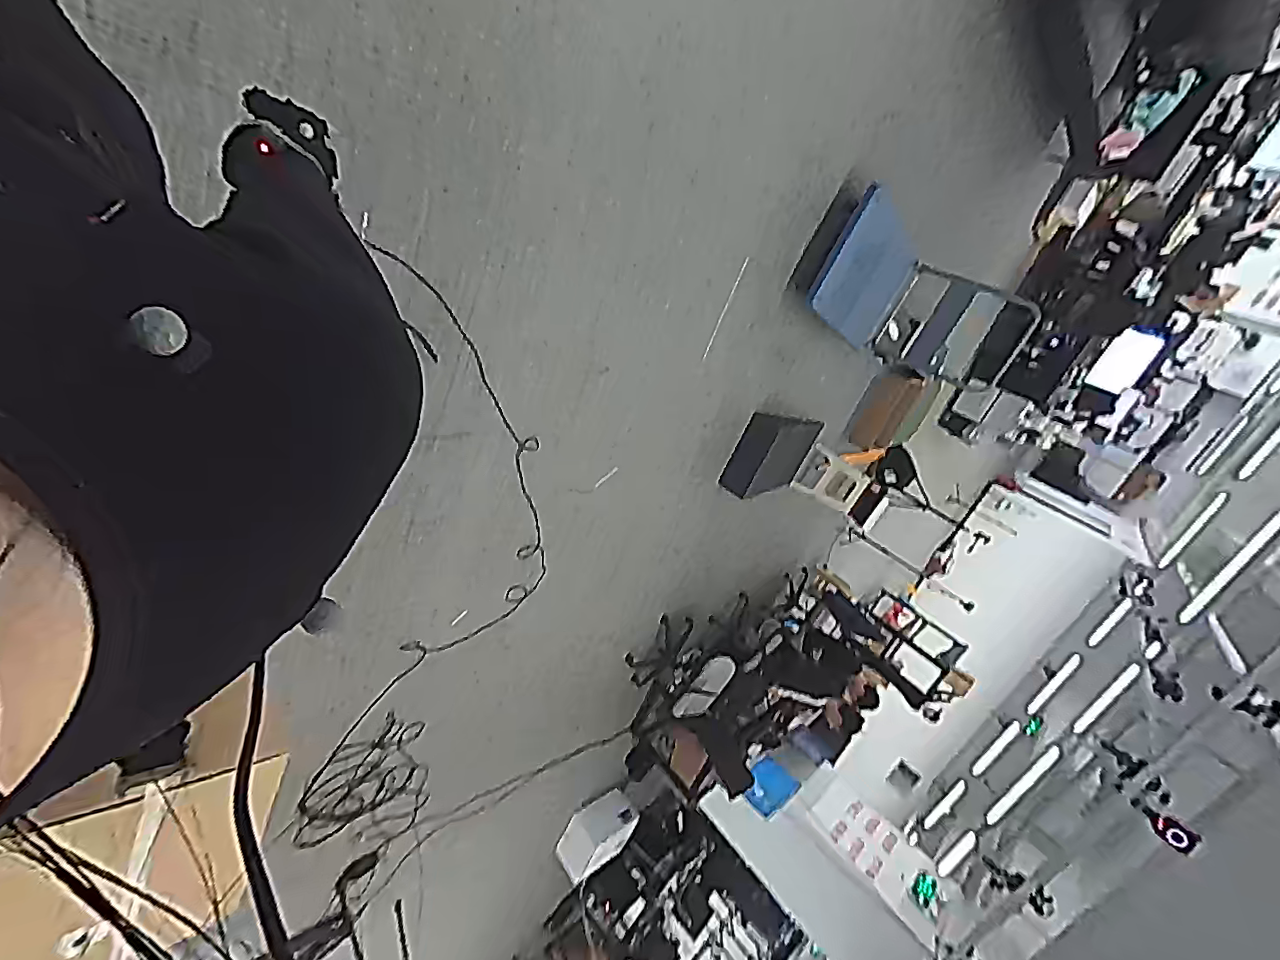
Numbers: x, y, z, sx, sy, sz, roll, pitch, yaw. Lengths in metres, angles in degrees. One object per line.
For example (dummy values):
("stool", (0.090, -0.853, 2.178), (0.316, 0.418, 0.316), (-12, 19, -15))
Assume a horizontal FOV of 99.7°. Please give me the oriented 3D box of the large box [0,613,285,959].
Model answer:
("large box", (-0.808, 0.477, 0.843), (0.320, 0.320, 0.408), (4, 119, -50))
